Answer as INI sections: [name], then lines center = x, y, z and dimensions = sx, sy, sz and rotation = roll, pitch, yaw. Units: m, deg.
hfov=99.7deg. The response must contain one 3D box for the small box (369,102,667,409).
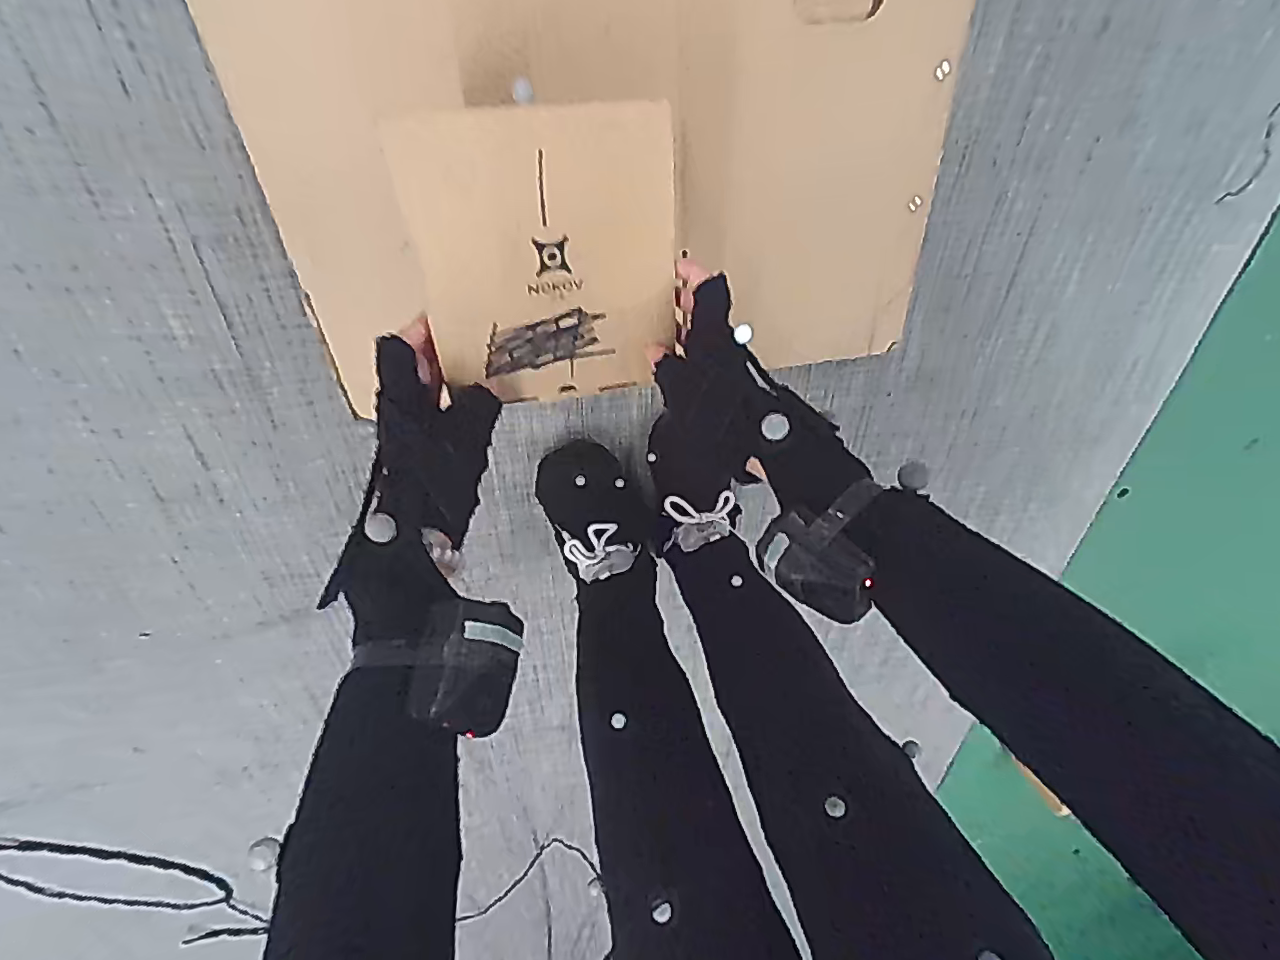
[small box]
center = -0.080, -0.176, 0.410
dimensions = 0.168, 0.176, 0.179
rotation = -10, 124, -10
